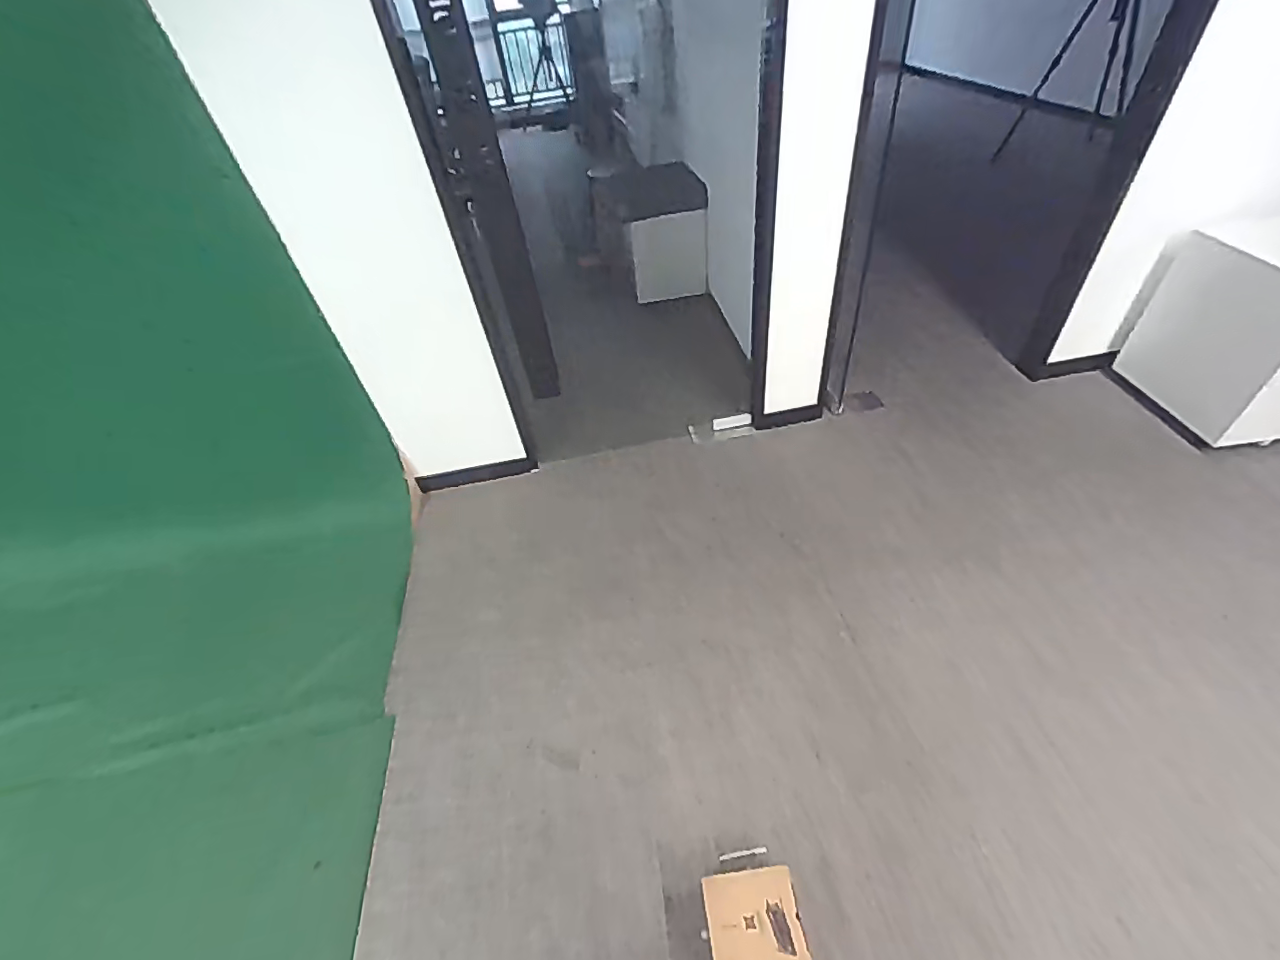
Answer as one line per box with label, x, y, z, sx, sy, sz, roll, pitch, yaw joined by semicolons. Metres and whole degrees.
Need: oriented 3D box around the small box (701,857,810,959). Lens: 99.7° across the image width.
small box;0.221;0.878;1.081;0.179;0.176;0.168;-9;44;1
